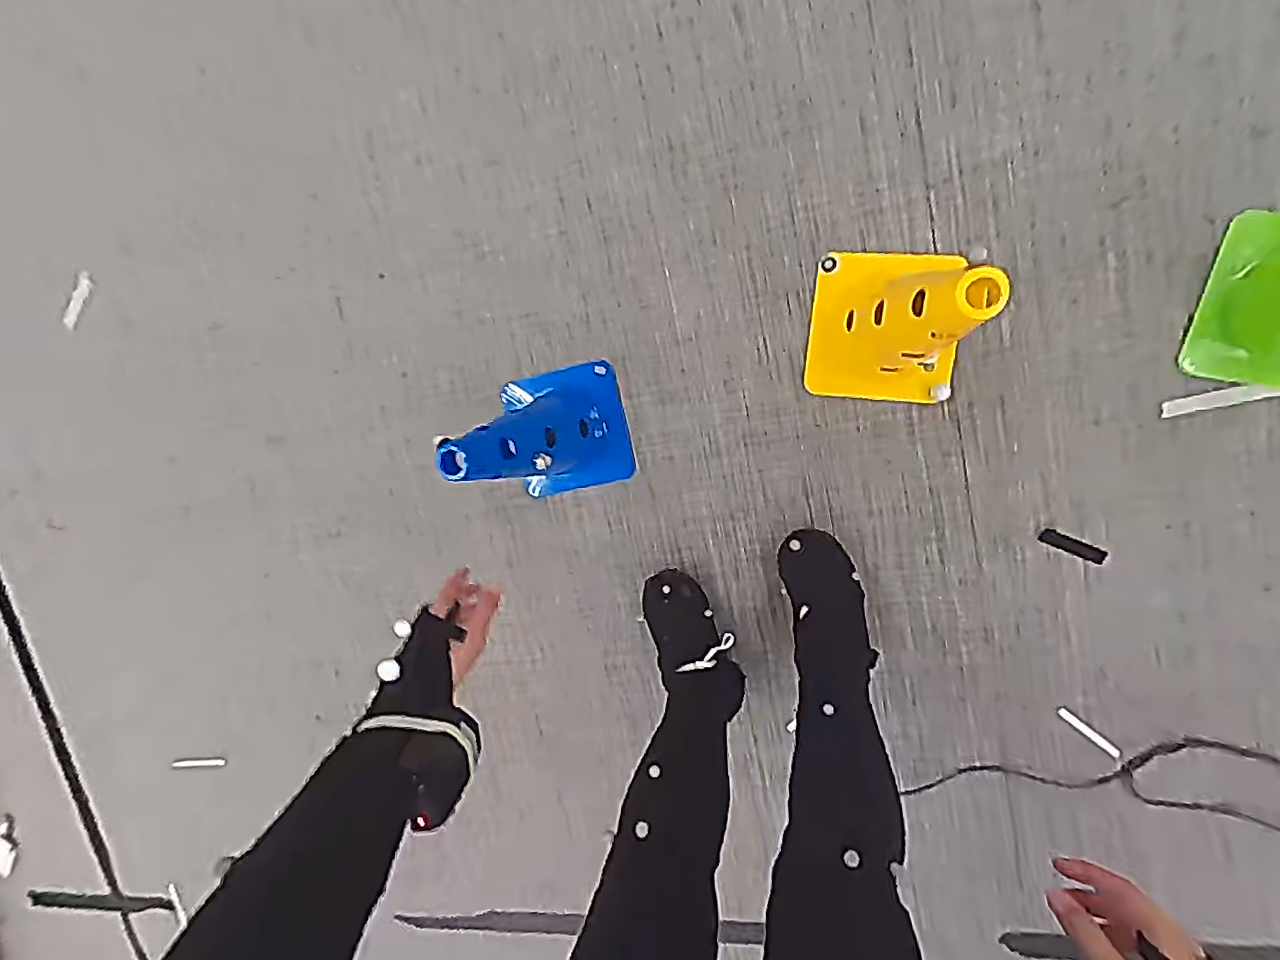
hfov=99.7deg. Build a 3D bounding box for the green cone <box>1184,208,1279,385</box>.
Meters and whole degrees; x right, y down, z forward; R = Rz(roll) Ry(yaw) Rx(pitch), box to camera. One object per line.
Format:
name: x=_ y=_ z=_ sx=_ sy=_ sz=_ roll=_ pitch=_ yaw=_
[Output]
green cone: x=0.770 y=-0.184 z=0.497 sx=0.200 sy=0.368 sz=0.202 roll=11 pitch=103 yaw=10
